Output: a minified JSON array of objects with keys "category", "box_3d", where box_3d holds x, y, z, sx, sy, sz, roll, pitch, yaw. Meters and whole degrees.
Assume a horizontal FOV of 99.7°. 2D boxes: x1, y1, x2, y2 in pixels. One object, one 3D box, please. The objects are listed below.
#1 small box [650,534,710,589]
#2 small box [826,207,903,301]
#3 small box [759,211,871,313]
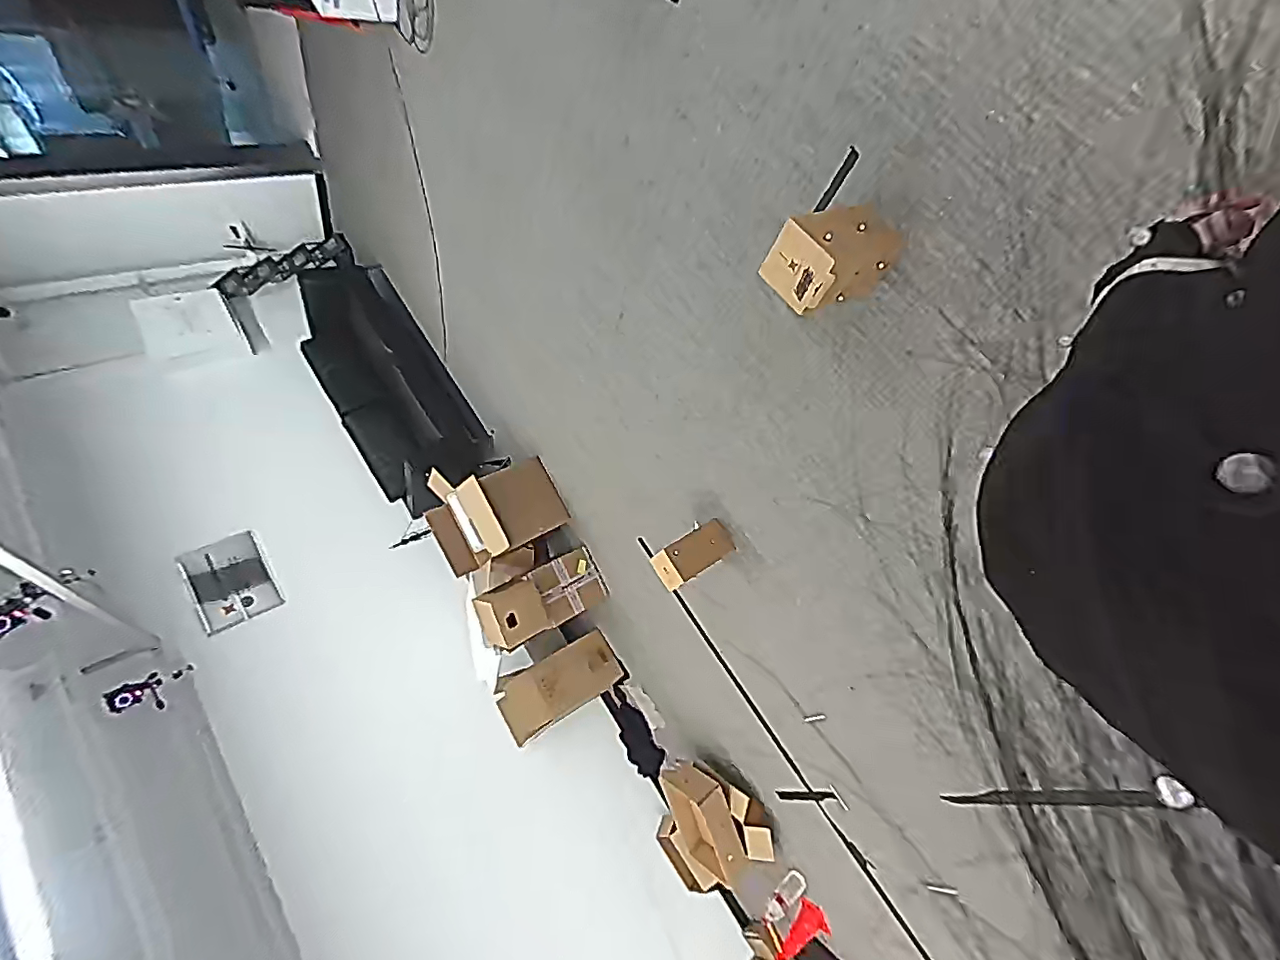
[{"category":"small box","box_3d":[0.182,0.359,2.431,0.179,0.176,0.168,57,149,11]},{"category":"small box","box_3d":[0.574,-0.622,1.475,0.179,0.176,0.168,54,146,19]},{"category":"small box","box_3d":[0.449,-0.564,1.385,0.179,0.176,0.168,54,147,18]}]
